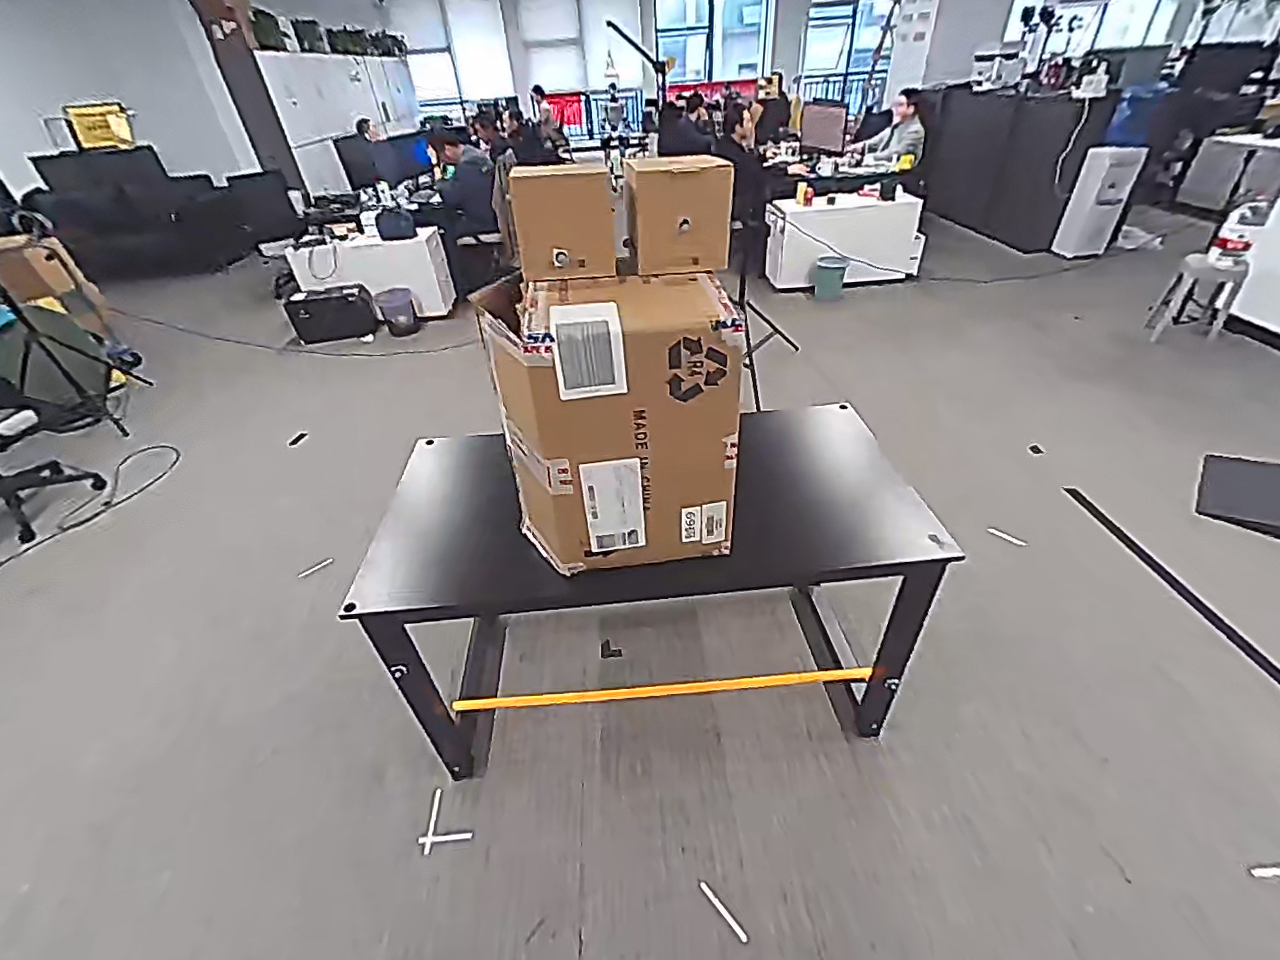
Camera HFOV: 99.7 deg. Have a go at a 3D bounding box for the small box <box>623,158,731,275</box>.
[{"bbox_3d":[0.063,-0.483,0.997,0.168,0.176,0.179,-5,37,-6],"label":"small box"}]

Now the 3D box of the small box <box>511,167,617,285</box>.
[{"bbox_3d":[-0.136,-0.464,0.986,0.168,0.176,0.179,-8,35,-6],"label":"small box"}]
